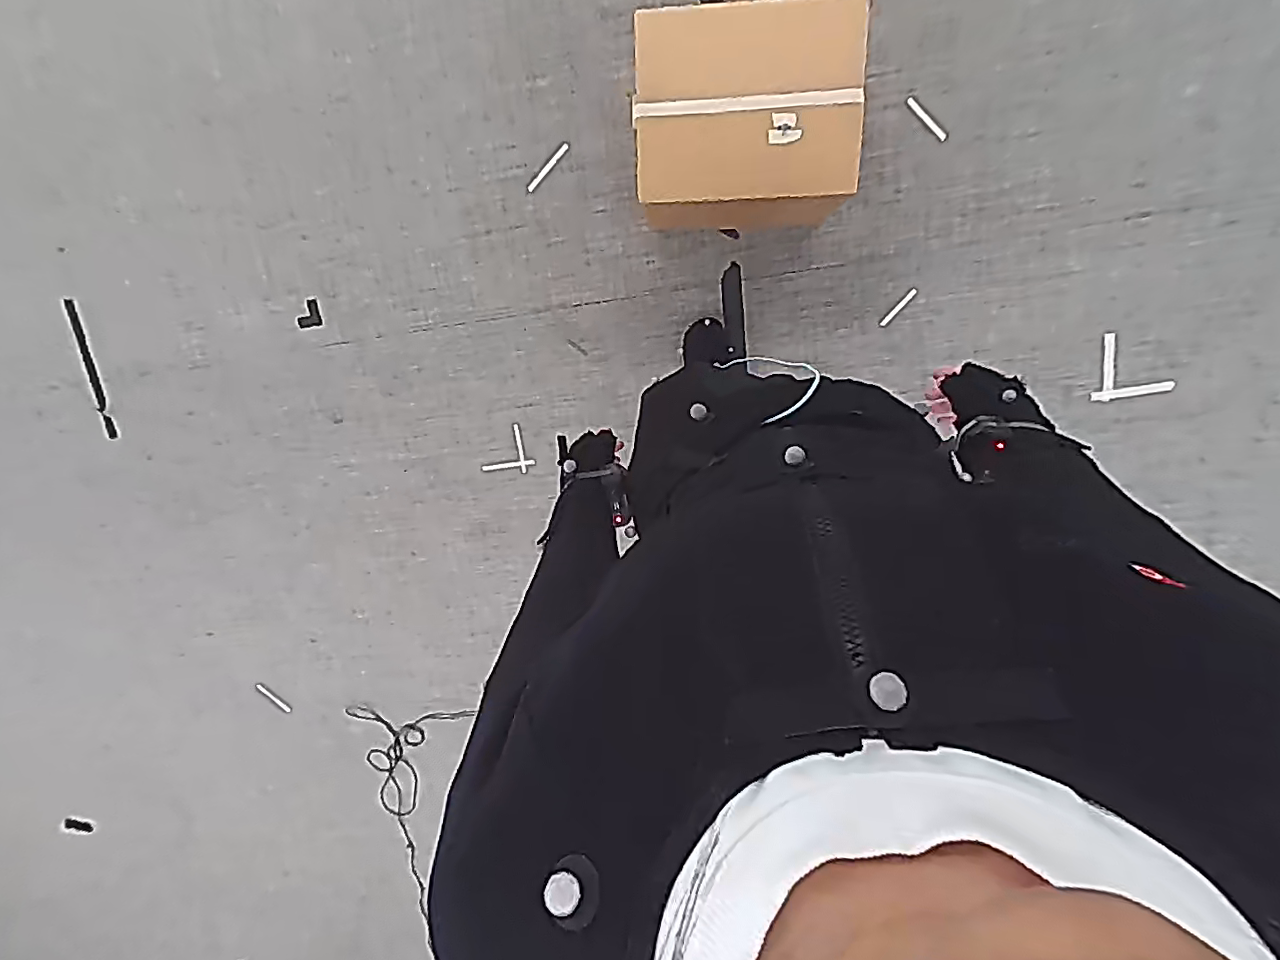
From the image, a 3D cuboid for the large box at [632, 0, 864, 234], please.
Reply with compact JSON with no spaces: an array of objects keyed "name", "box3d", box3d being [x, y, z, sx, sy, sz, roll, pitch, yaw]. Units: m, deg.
[{"name":"large box","box3d":[0.199,-0.708,1.113,0.408,0.320,0.320,0,106,5]}]
